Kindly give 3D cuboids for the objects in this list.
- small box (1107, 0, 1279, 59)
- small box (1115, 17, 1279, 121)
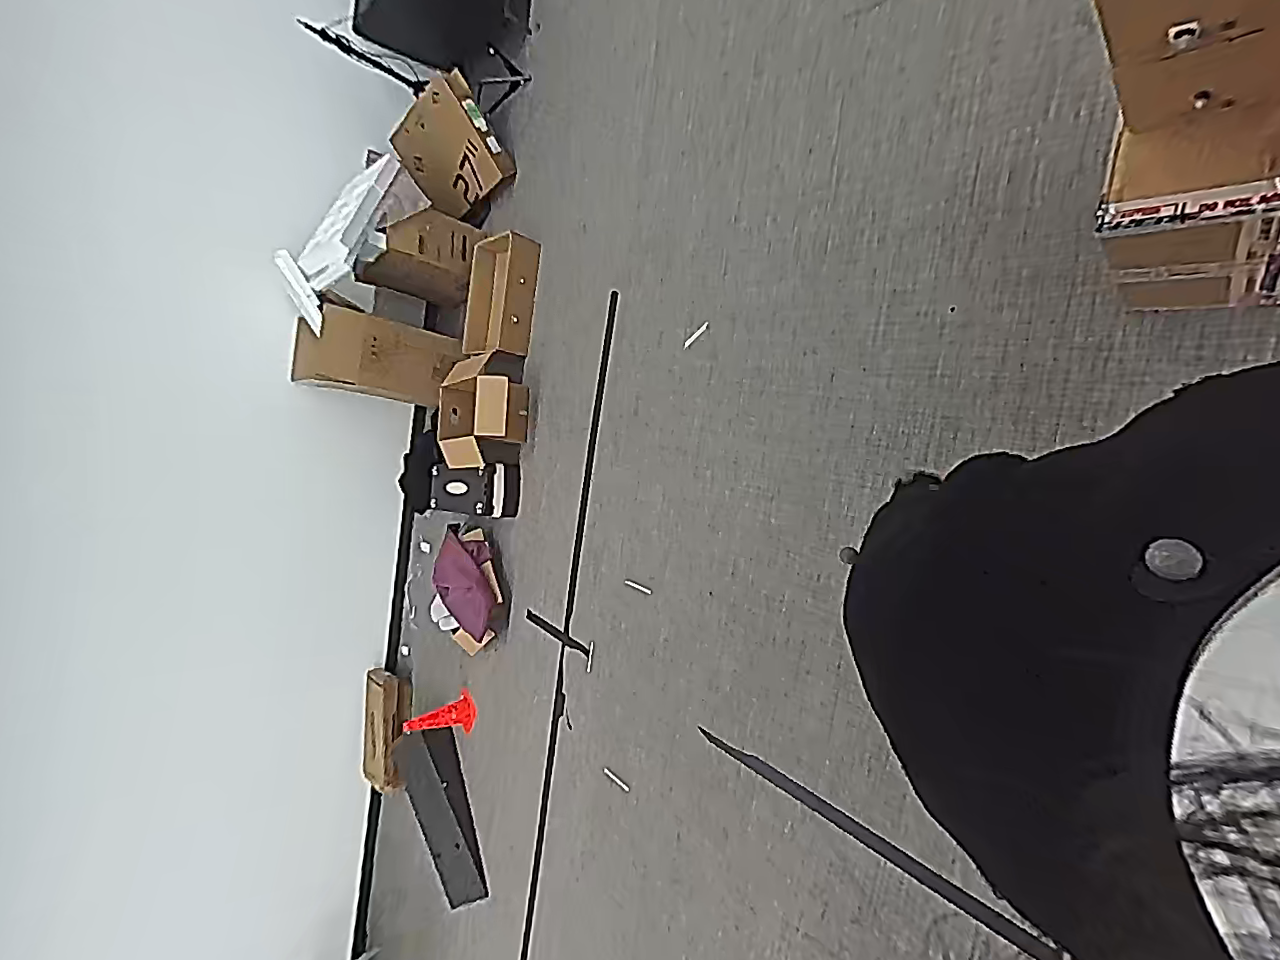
[{"bbox_3d":[0.614,-0.605,0.569,0.168,0.176,0.179,15,100,49],"label":"small box"},{"bbox_3d":[0.733,-0.602,0.680,0.168,0.176,0.179,15,99,47],"label":"small box"}]
